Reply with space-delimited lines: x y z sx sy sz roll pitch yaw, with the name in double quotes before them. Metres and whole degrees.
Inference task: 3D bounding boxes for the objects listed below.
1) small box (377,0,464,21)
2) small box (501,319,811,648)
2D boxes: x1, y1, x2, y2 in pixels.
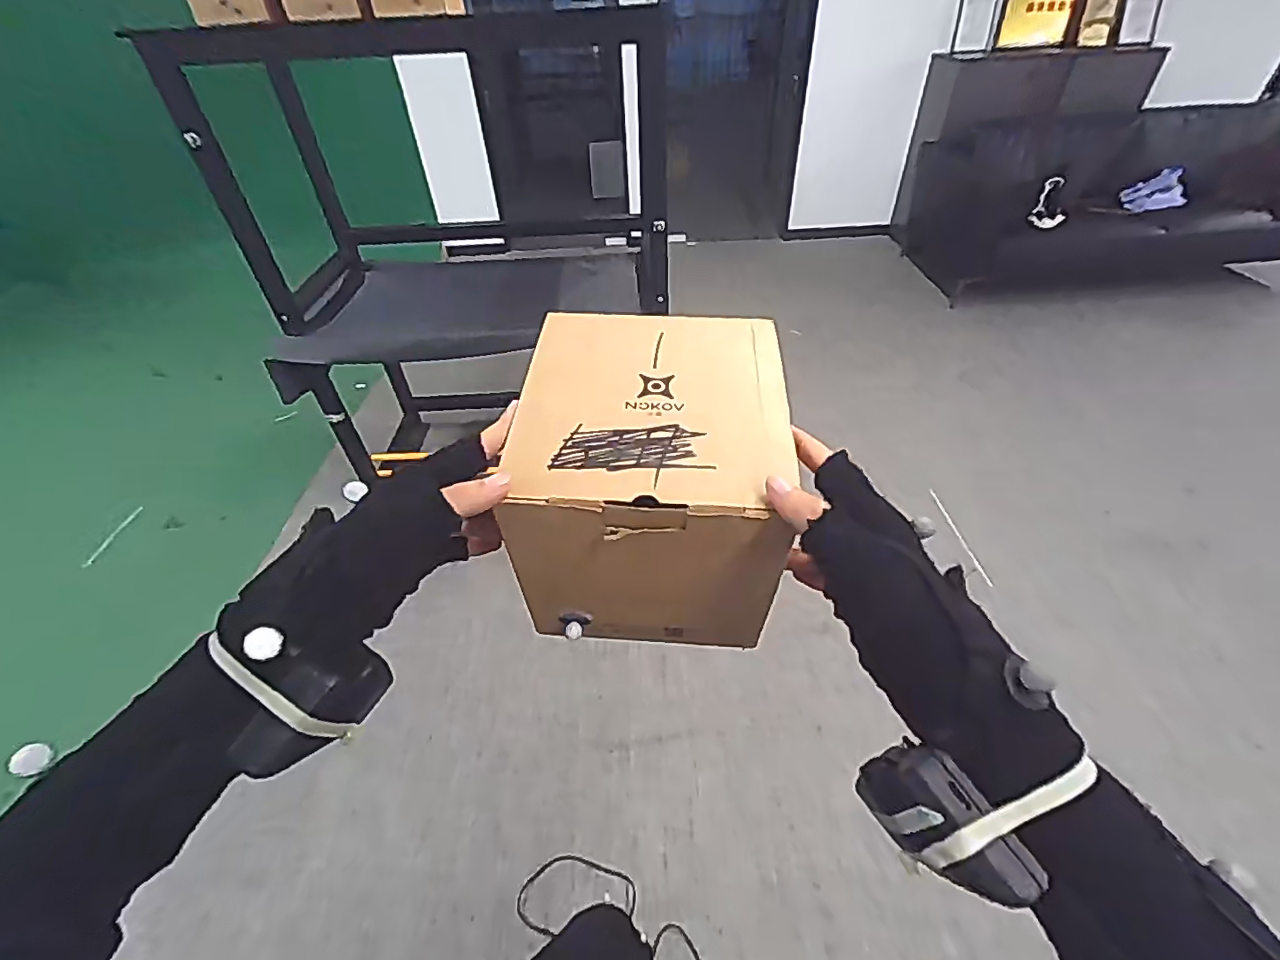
"small box" -0.509 -1.152 1.219 0.168 0.176 0.179 -2 43 1
"small box" 0.014 0.005 0.392 0.168 0.176 0.179 3 49 3
